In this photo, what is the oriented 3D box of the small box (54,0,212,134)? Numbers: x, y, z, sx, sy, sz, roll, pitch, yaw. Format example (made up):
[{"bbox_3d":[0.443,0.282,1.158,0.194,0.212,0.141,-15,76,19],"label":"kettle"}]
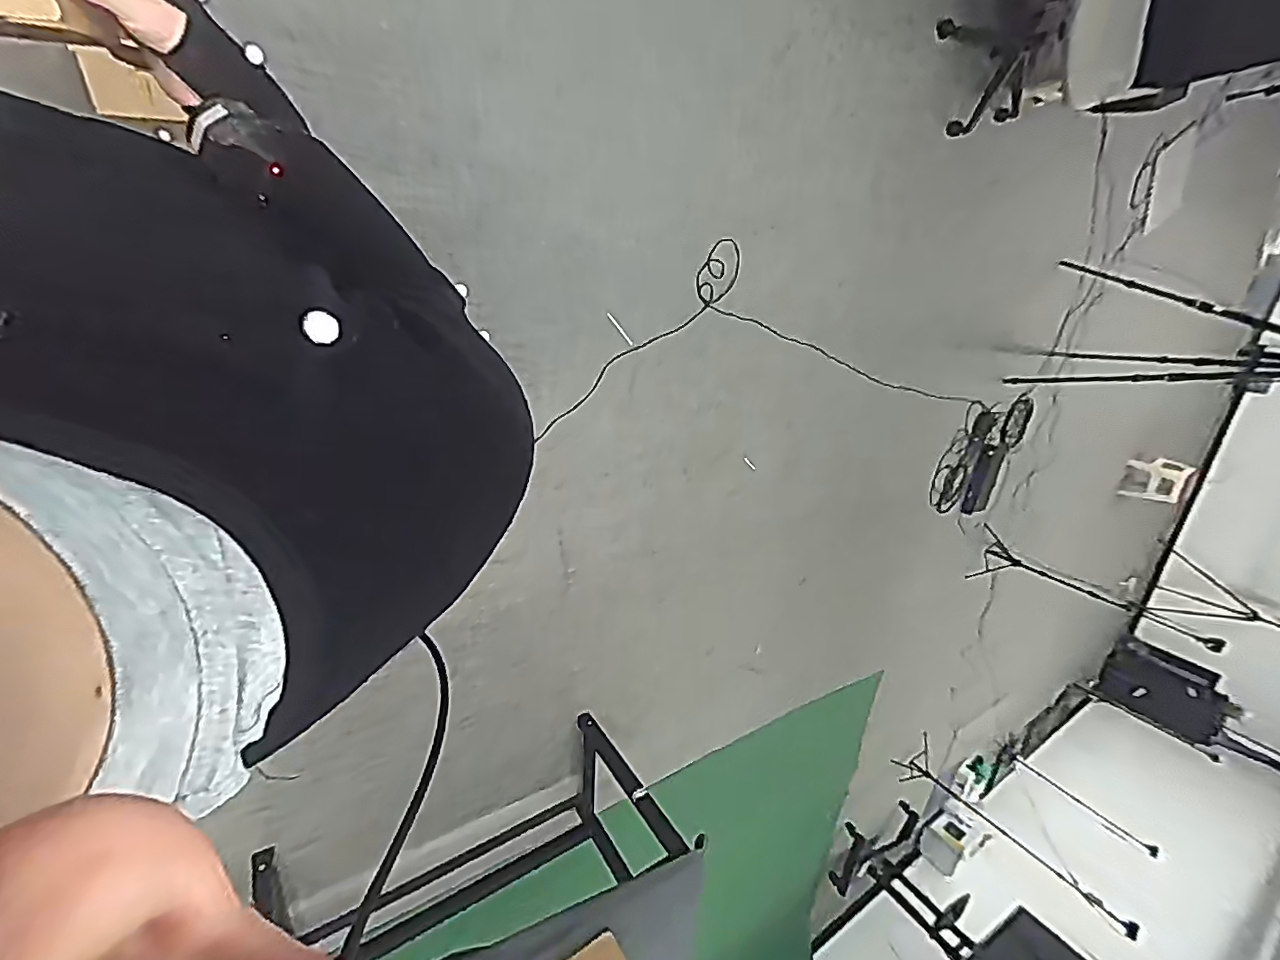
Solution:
[{"bbox_3d":[-0.893,-0.740,0.966,0.168,0.176,0.179,-14,118,-30],"label":"small box"}]
